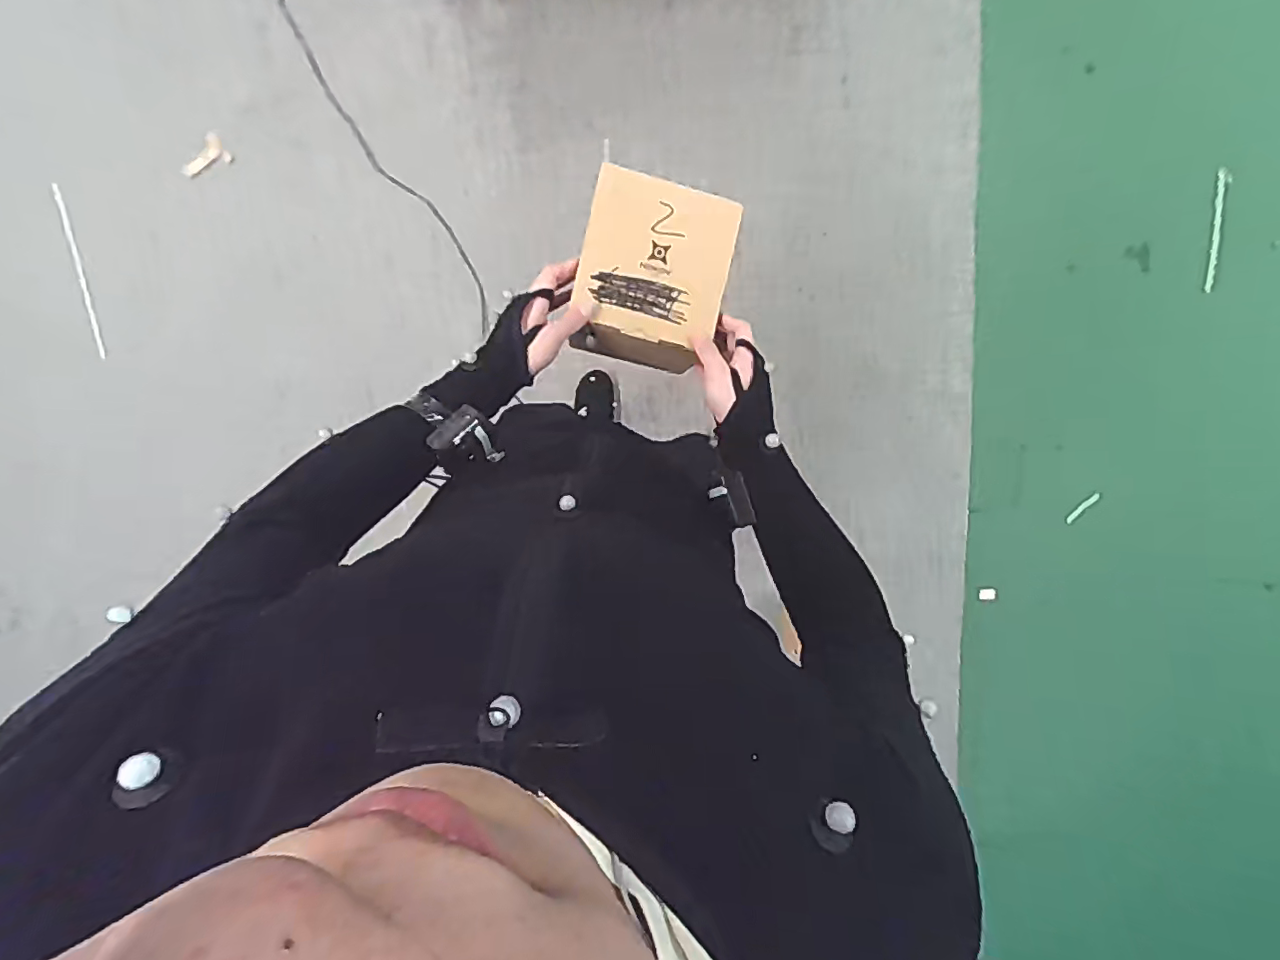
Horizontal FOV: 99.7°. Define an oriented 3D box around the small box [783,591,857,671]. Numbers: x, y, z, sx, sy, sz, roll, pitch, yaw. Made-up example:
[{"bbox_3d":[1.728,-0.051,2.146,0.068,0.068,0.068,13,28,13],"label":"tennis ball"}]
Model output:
[{"bbox_3d":[0.531,0.440,1.610,0.168,0.176,0.179,-6,102,1],"label":"small box"}]
